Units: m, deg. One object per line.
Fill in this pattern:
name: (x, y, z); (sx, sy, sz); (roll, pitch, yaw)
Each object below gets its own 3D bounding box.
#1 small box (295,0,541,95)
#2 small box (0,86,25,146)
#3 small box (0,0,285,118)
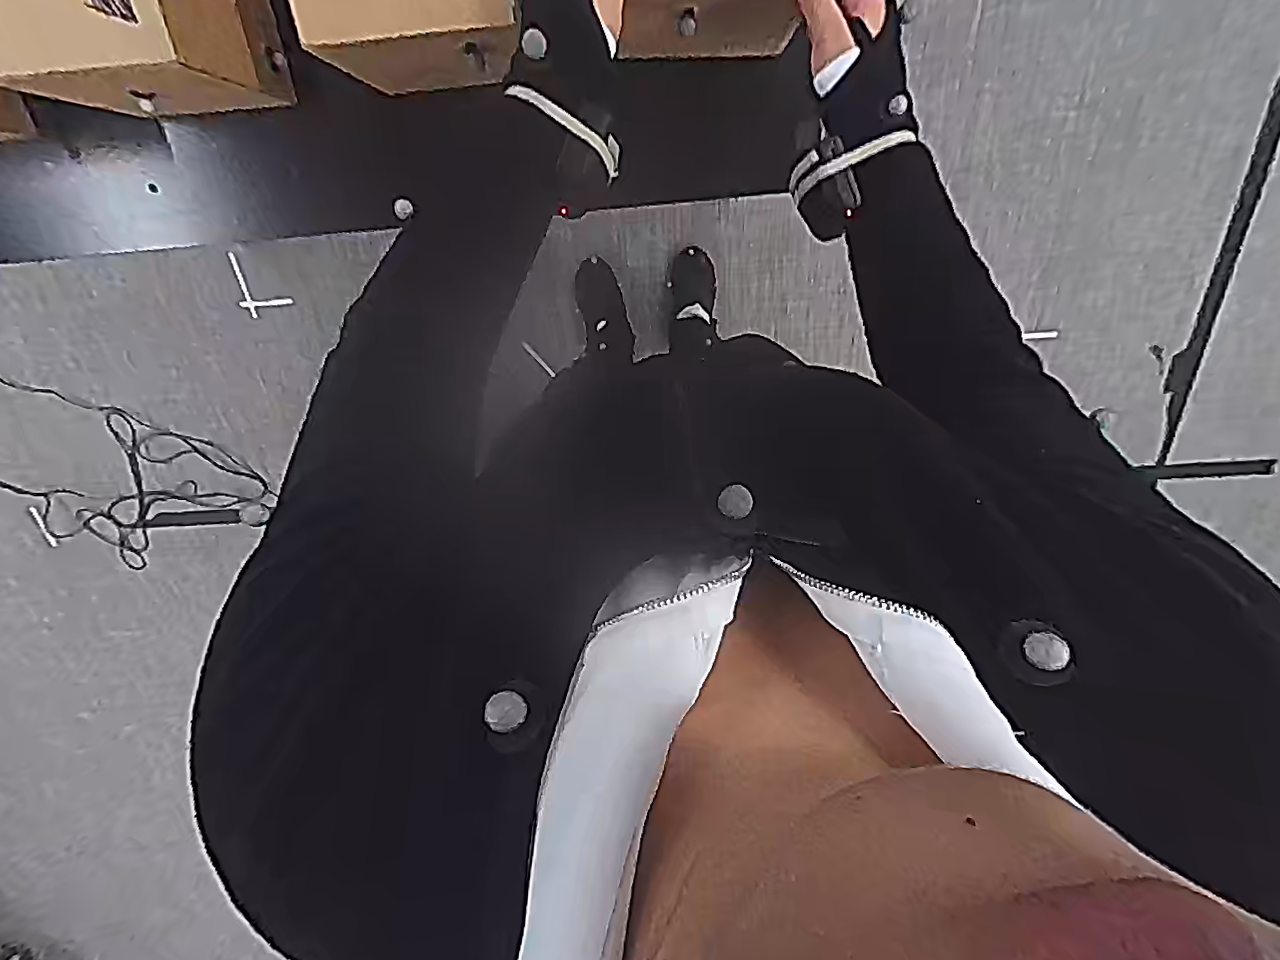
small box: (-0.189, -0.460, 0.473); (0.179, 0.176, 0.168); (-5, 114, 2)
small box: (-0.752, -0.410, 0.499); (0.179, 0.176, 0.168); (-6, 114, 4)
small box: (-0.459, -0.440, 0.483); (0.179, 0.176, 0.168); (-3, 115, 2)
